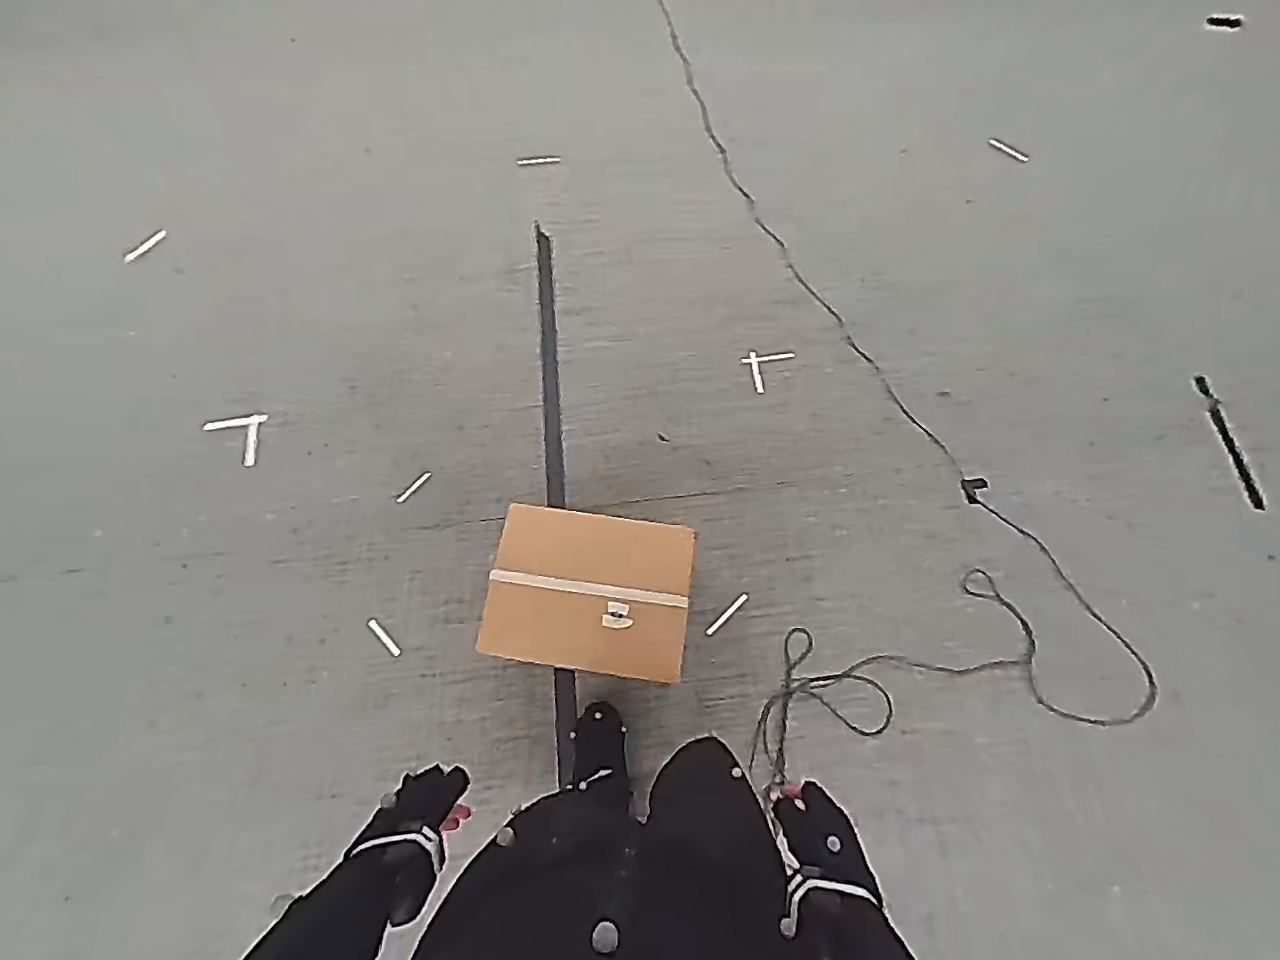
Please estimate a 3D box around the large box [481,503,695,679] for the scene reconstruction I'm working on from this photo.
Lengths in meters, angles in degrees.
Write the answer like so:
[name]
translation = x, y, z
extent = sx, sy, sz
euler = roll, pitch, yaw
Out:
[large box]
translation = -0.101, 0.268, 1.243
extent = 0.408, 0.320, 0.320
euler = 8, 70, 3
